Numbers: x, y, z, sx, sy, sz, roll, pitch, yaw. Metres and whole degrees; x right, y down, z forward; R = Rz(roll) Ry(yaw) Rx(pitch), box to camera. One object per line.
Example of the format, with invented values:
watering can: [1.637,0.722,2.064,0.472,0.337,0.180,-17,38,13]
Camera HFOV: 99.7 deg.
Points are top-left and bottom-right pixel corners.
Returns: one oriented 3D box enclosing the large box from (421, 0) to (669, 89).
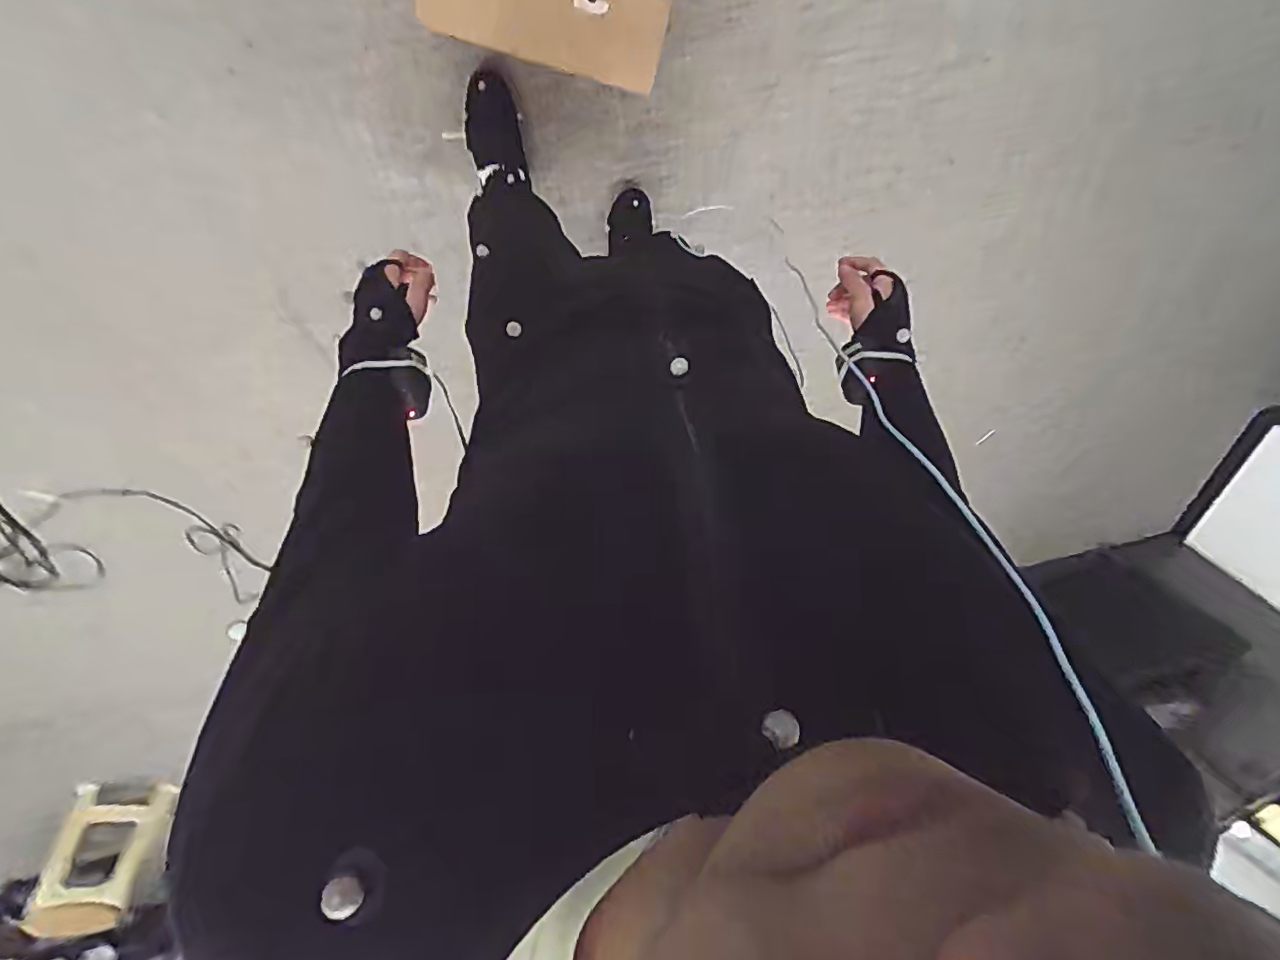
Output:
large box: [-0.166,-0.939,0.961,0.408,0.320,0.320,4,127,-19]
